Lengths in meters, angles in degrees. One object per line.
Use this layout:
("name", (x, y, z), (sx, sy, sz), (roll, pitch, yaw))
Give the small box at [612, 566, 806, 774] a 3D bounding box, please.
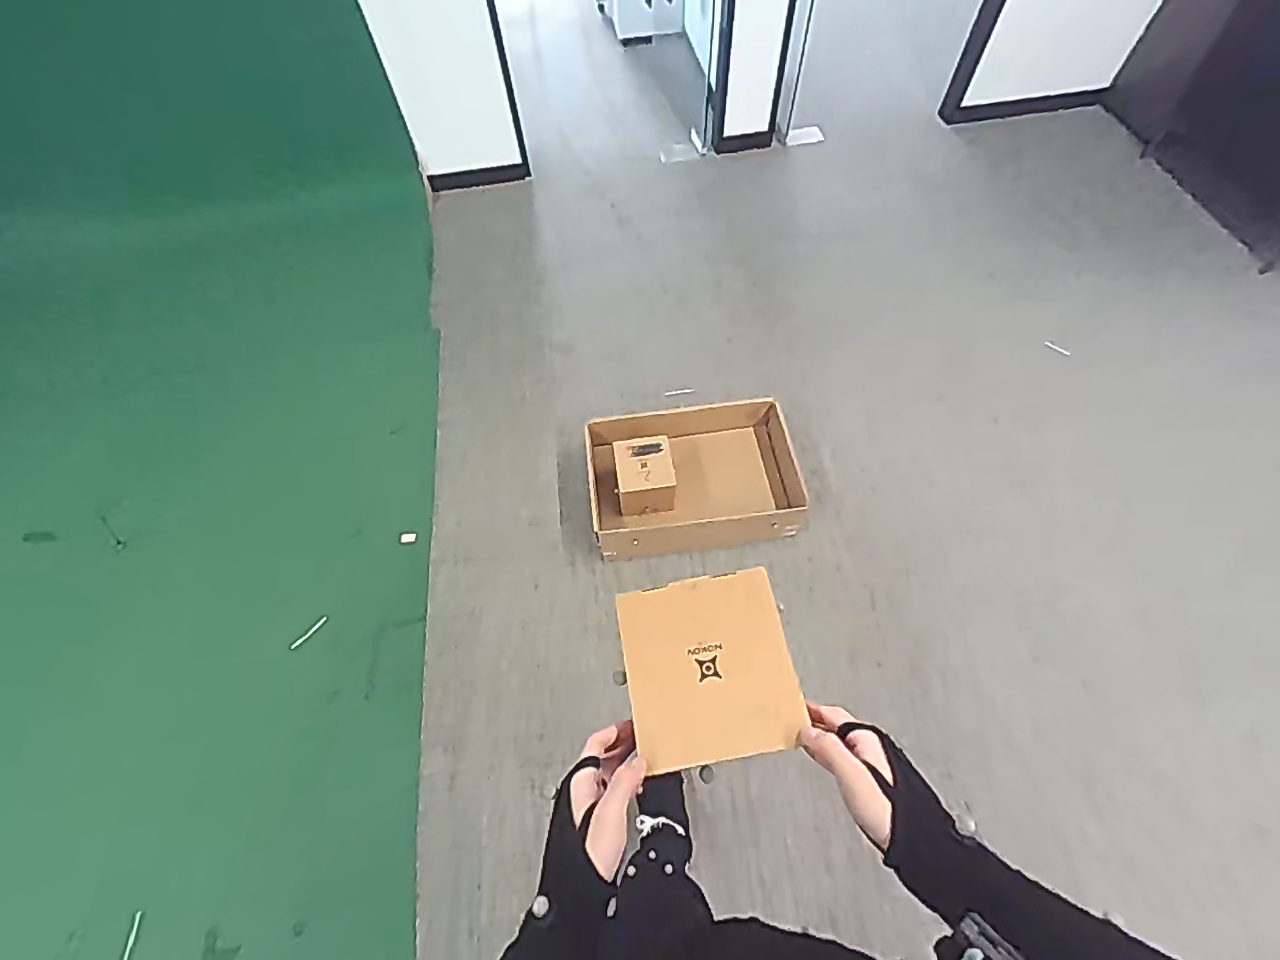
("small box", (0.072, 0.219, 0.608), (0.168, 0.176, 0.179), (-12, 60, 1))
